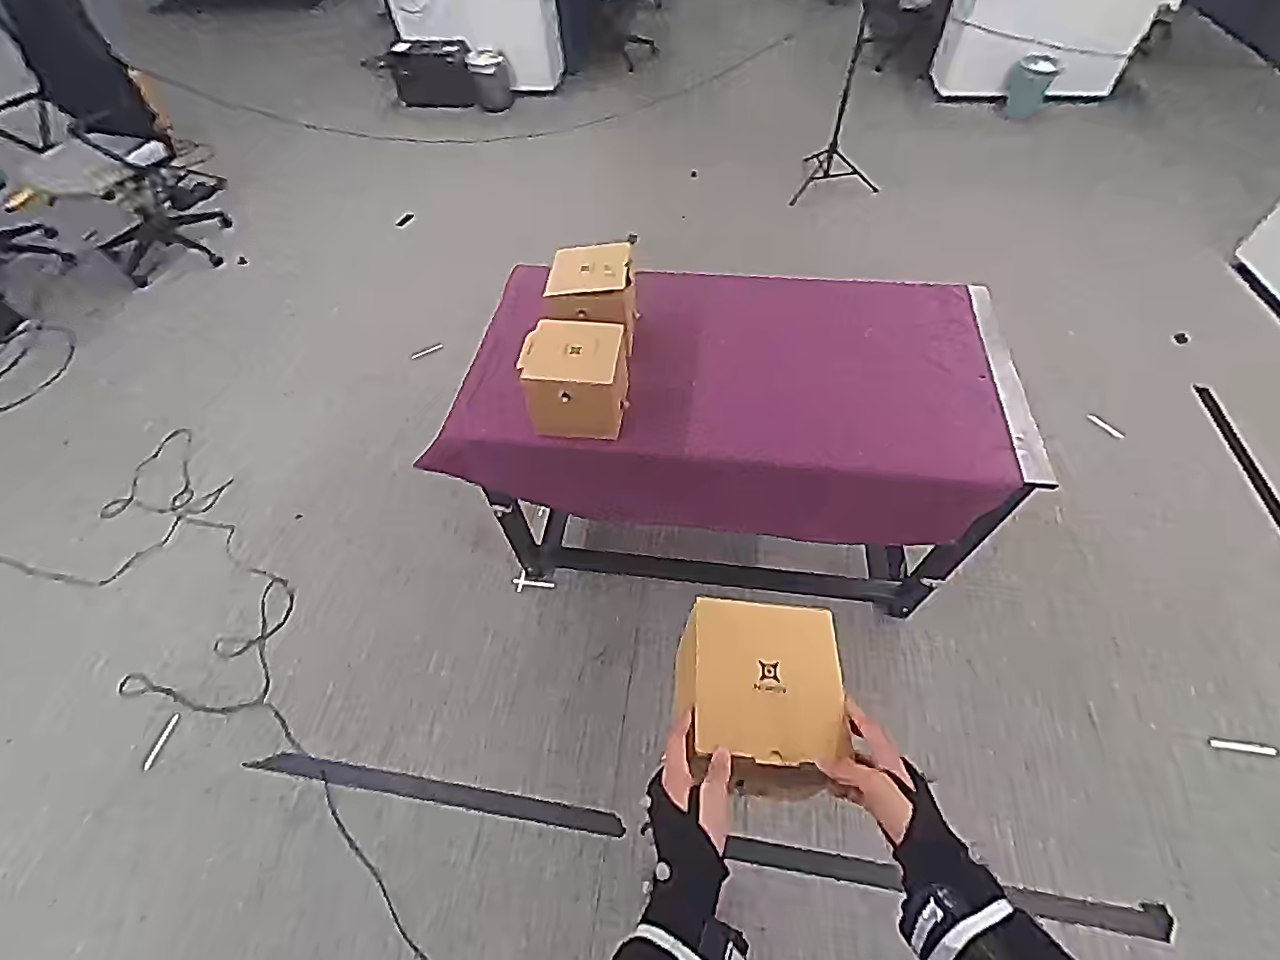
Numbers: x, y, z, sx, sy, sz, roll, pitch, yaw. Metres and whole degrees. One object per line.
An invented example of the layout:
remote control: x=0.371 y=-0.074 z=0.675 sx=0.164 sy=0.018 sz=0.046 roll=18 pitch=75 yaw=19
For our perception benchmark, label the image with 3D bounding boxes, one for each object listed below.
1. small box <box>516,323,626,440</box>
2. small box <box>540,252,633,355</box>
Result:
small box: x=-0.129 y=-0.195 z=1.092 sx=0.179 sy=0.176 sz=0.168 roll=5 pitch=56 yaw=5
small box: x=-0.113 y=-0.394 z=1.228 sx=0.179 sy=0.176 sz=0.168 roll=3 pitch=56 yaw=4
